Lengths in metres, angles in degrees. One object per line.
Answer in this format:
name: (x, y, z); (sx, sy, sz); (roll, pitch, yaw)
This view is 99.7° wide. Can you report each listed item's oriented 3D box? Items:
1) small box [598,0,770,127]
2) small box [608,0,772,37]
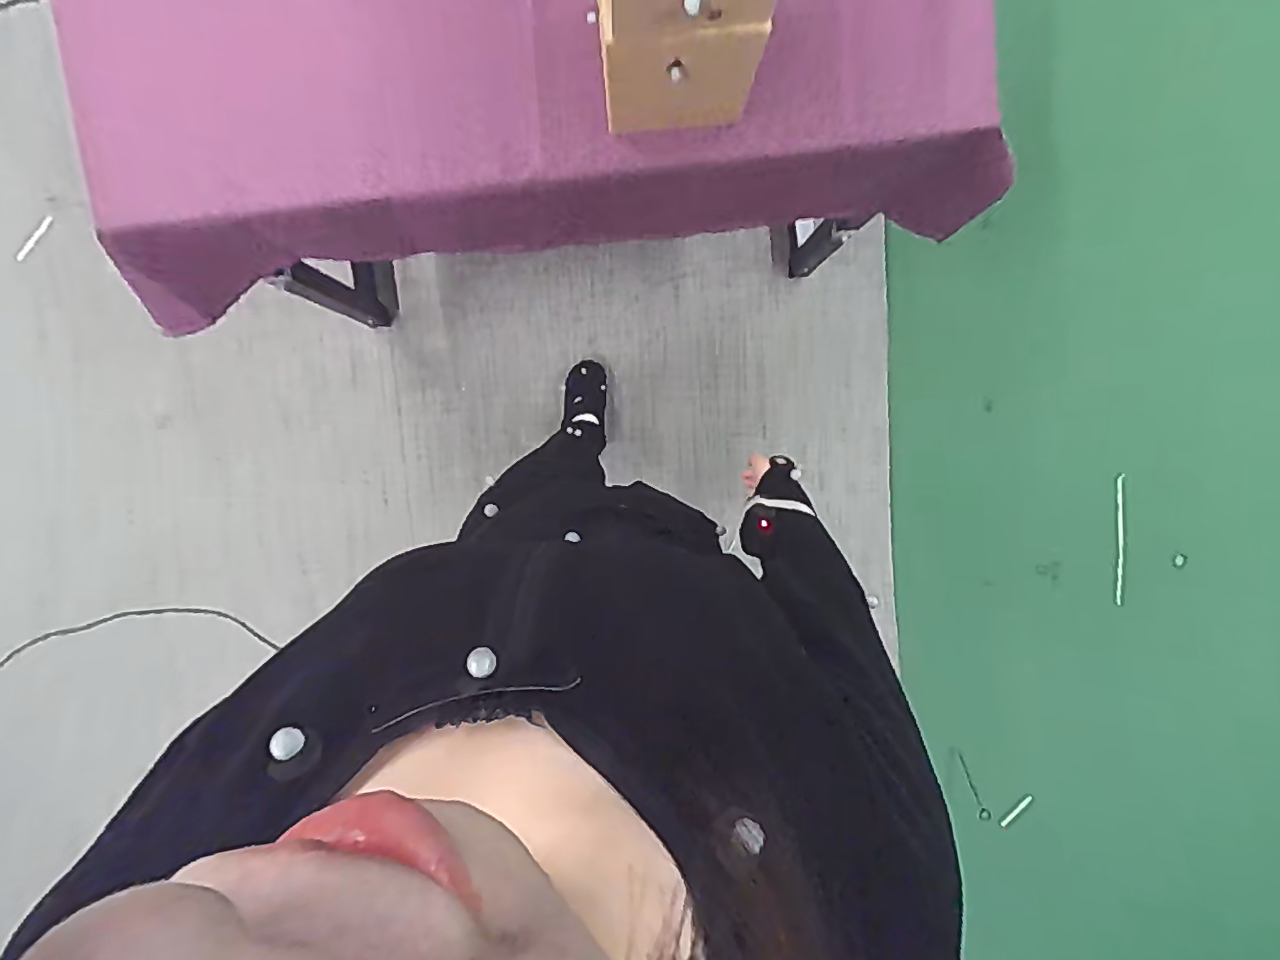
small box: (0.041, -0.541, 0.628); (0.179, 0.176, 0.168); (-5, 95, -1)
small box: (0.043, -0.537, 0.463); (0.168, 0.176, 0.179); (-8, 95, 0)
